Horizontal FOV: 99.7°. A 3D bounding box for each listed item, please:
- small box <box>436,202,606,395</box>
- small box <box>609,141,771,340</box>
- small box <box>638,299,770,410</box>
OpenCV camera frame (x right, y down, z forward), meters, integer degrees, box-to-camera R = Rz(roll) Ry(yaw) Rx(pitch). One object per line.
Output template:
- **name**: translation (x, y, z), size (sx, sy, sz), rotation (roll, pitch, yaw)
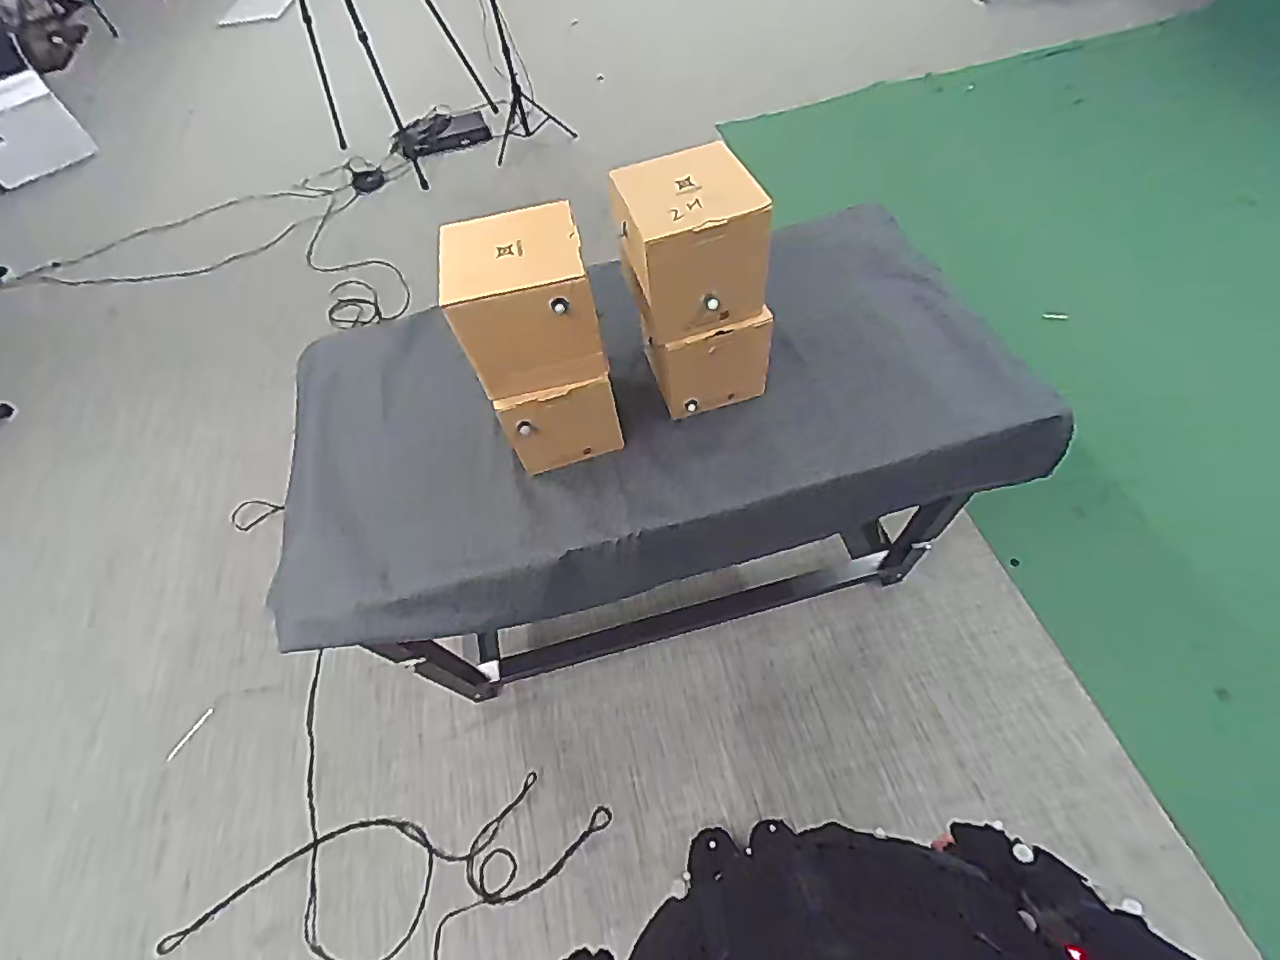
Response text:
- **small box**: translation (-0.153, -0.236, 0.729), size (0.179, 0.176, 0.168), rotation (-12, 57, -1)
- **small box**: translation (0.066, -0.329, 0.756), size (0.168, 0.176, 0.179), rotation (-18, 59, -3)
- **small box**: translation (0.100, -0.235, 0.888), size (0.168, 0.176, 0.179), rotation (-17, 57, -3)
